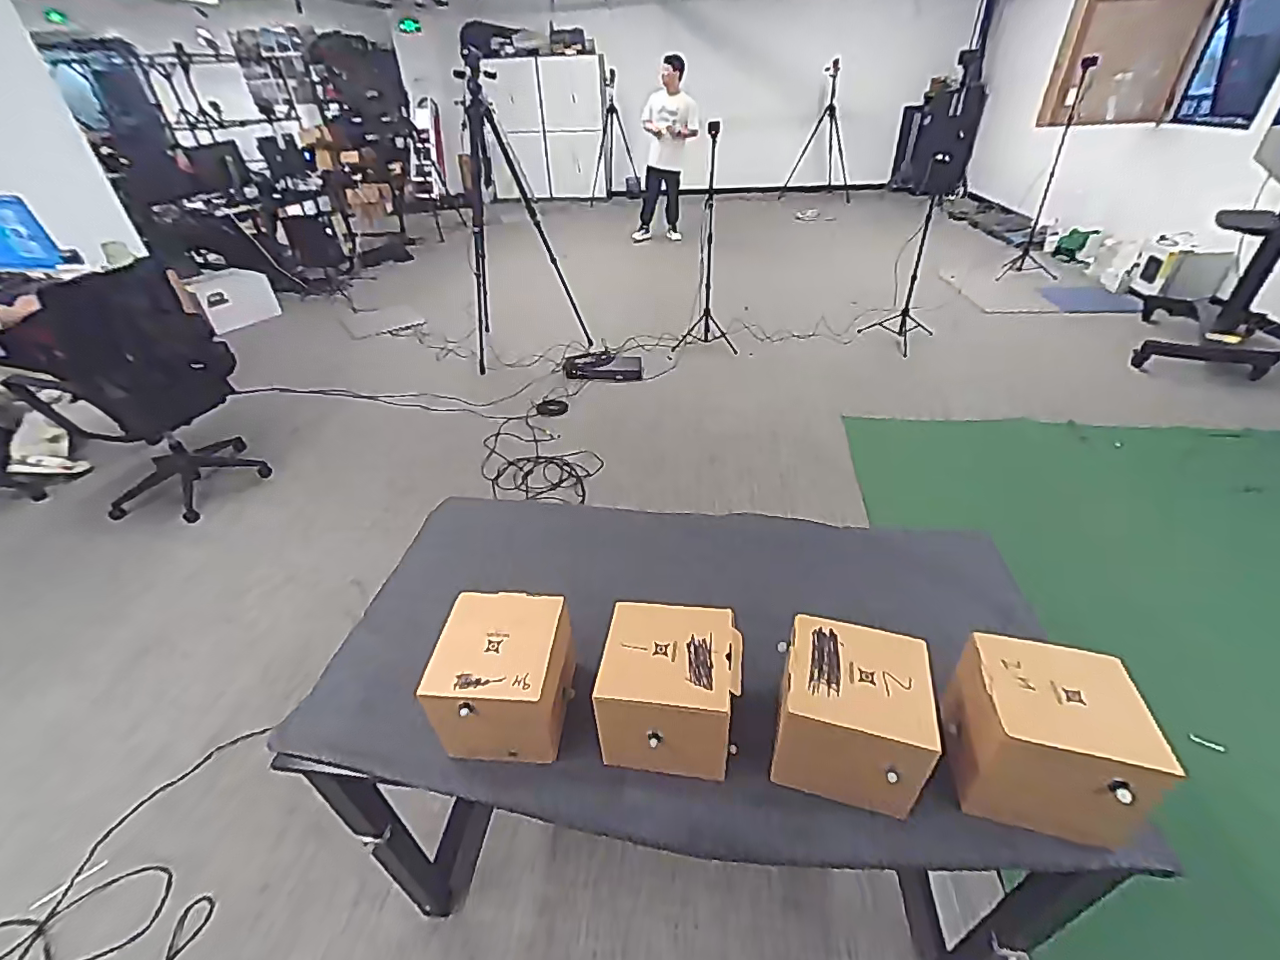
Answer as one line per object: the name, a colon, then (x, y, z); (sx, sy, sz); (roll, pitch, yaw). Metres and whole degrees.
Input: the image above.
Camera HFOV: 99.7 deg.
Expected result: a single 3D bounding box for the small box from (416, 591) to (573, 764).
small box: (-0.200, 0.290, 0.806); (0.168, 0.176, 0.179); (1, 36, 6)
